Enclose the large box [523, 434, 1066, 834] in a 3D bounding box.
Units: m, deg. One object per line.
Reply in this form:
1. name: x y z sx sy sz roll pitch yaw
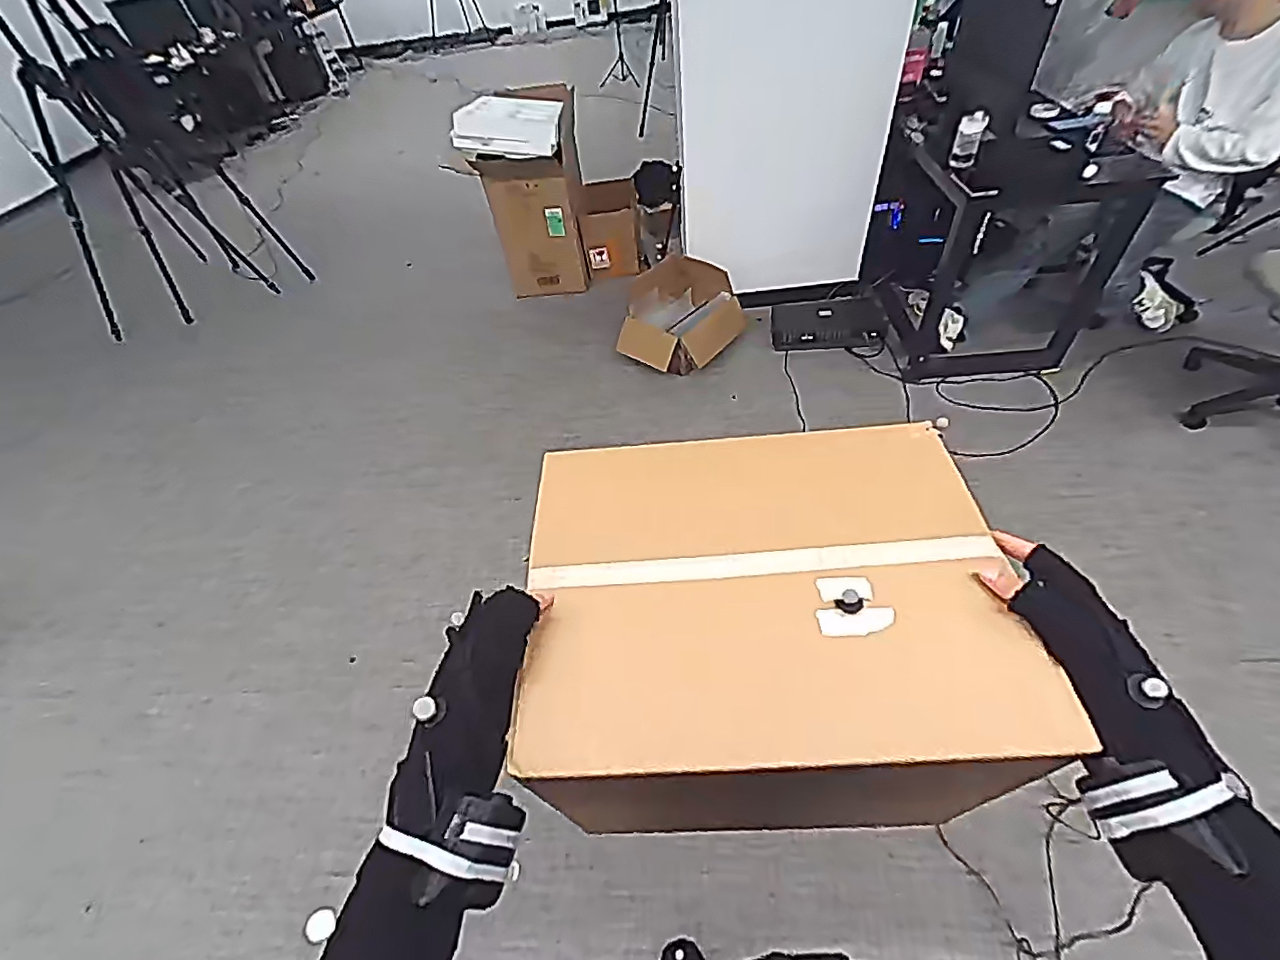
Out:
1. large box: 0.116 0.180 0.600 0.408 0.320 0.320 -4 50 3
